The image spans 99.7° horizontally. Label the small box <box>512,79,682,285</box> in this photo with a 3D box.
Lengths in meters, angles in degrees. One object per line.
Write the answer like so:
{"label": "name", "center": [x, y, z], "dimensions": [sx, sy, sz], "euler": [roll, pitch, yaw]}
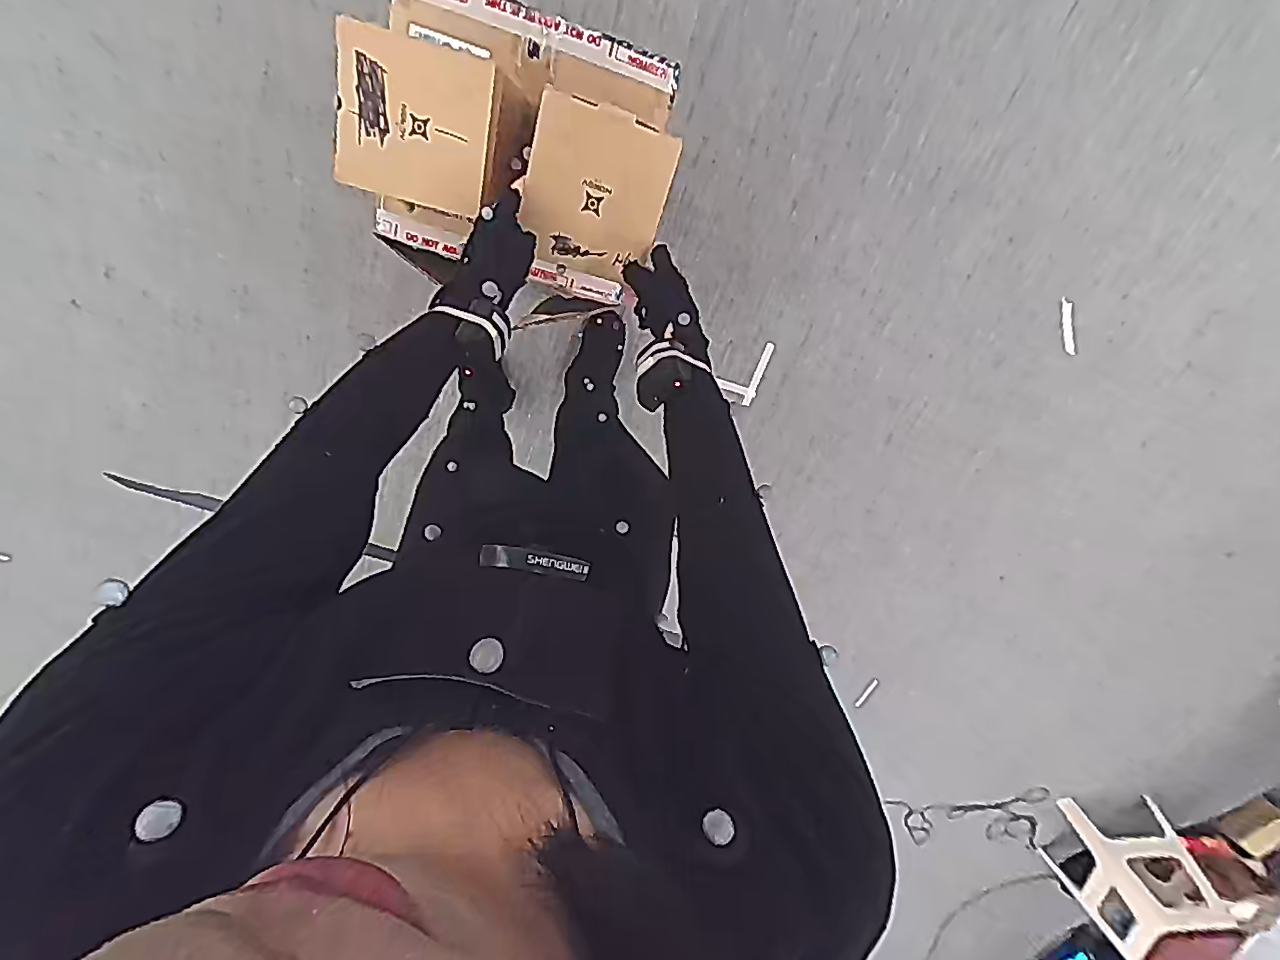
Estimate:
{"label": "small box", "center": [-0.064, -0.380, 0.706], "dimensions": [0.168, 0.176, 0.179], "euler": [13, 117, -15]}

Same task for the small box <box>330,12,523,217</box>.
{"label": "small box", "center": [-0.262, -0.441, 0.687], "dimensions": [0.179, 0.176, 0.168], "euler": [13, 114, -6]}
